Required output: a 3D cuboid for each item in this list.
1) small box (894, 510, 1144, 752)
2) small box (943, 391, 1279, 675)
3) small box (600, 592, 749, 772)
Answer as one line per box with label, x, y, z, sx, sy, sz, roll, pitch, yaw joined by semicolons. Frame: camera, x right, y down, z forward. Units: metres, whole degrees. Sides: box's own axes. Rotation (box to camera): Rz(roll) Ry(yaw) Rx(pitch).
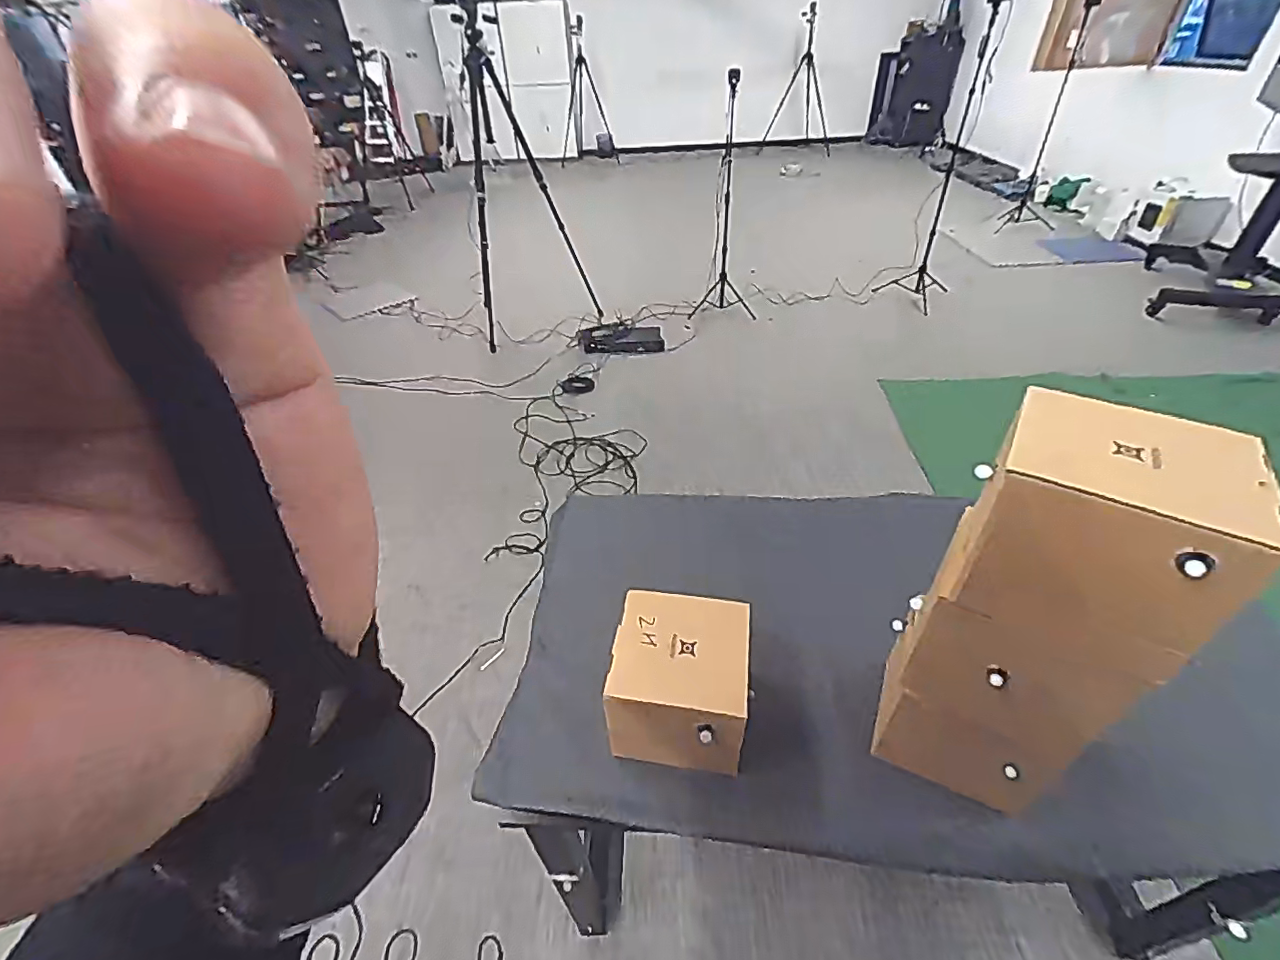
small box;0.413;0.169;0.605;0.179;0.176;0.168;22;45;29
small box;0.409;0.044;0.500;0.179;0.176;0.168;22;45;27
small box;0.053;0.281;0.751;0.179;0.176;0.168;5;41;10
